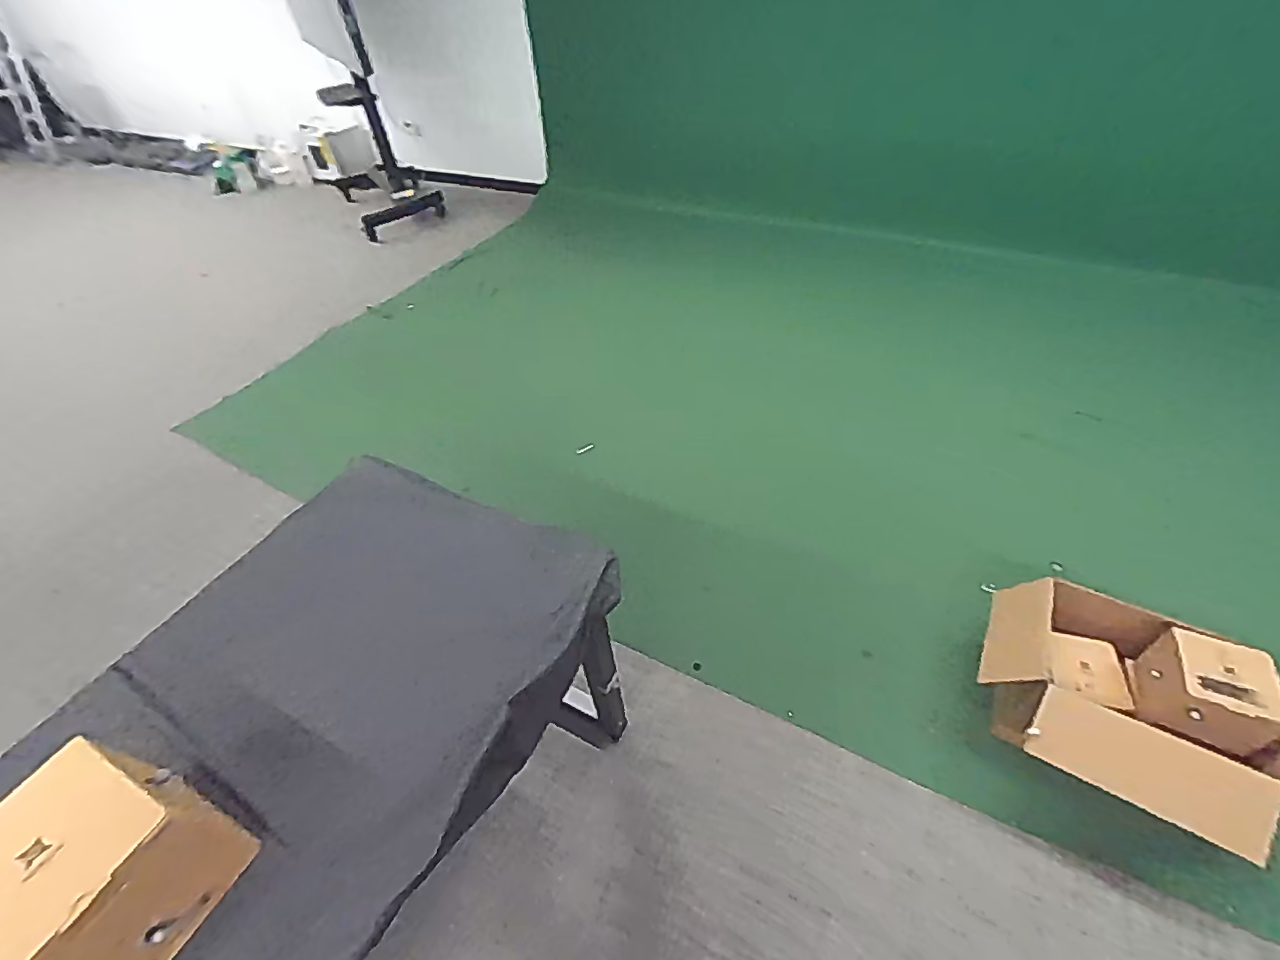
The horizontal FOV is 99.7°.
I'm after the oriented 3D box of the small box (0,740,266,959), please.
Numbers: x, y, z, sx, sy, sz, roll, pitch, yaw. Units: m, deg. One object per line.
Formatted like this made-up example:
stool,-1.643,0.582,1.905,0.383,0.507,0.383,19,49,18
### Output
small box,-0.574,0.429,0.596,0.179,0.176,0.168,18,50,20
